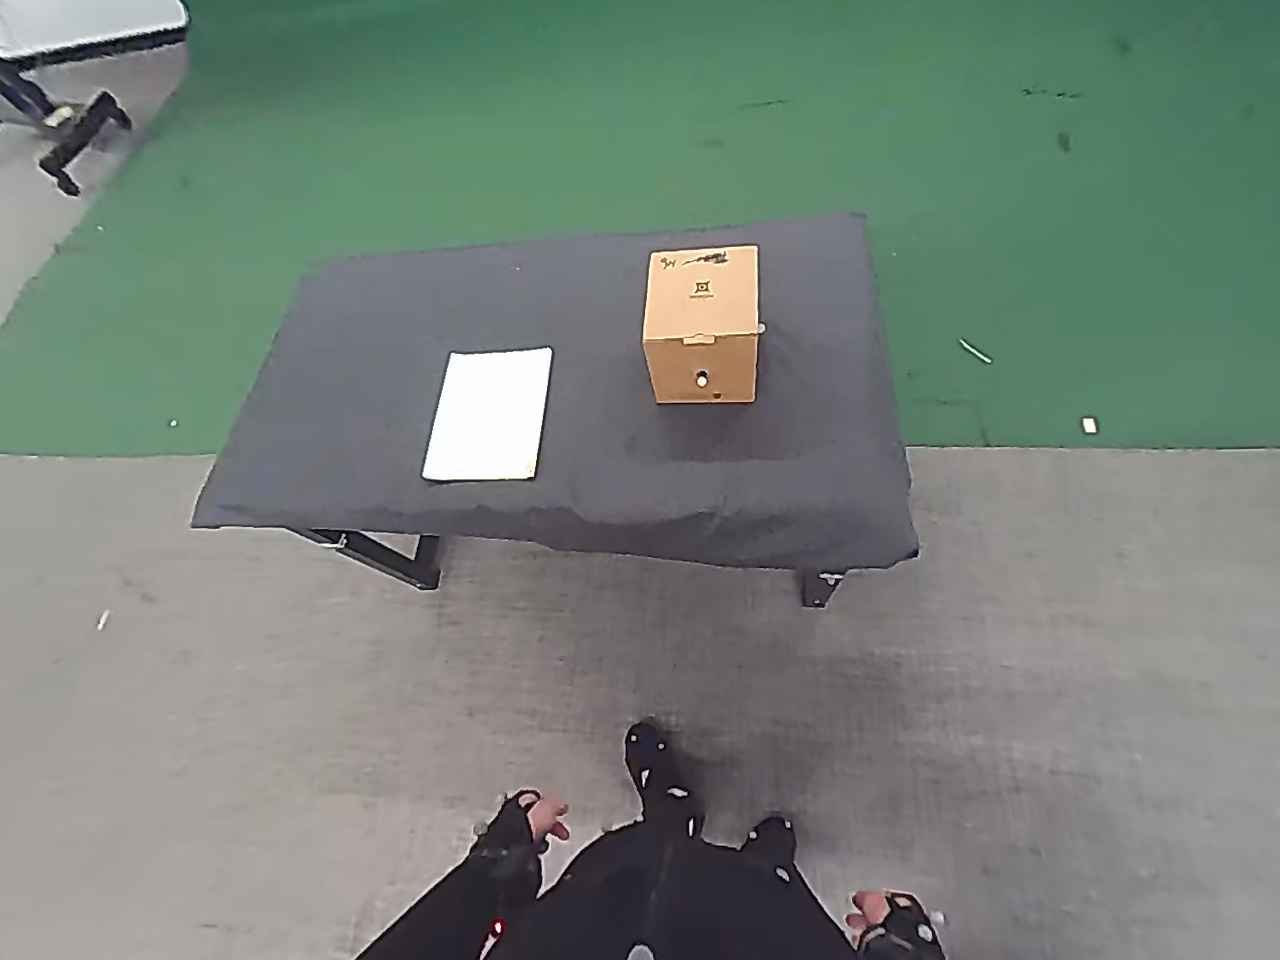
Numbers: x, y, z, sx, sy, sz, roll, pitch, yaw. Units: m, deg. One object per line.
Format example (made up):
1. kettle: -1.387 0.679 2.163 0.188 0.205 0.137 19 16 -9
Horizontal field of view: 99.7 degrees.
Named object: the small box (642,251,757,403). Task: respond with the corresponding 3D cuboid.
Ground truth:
1. small box: 0.103 -0.236 0.873 0.168 0.176 0.179 1 66 10
